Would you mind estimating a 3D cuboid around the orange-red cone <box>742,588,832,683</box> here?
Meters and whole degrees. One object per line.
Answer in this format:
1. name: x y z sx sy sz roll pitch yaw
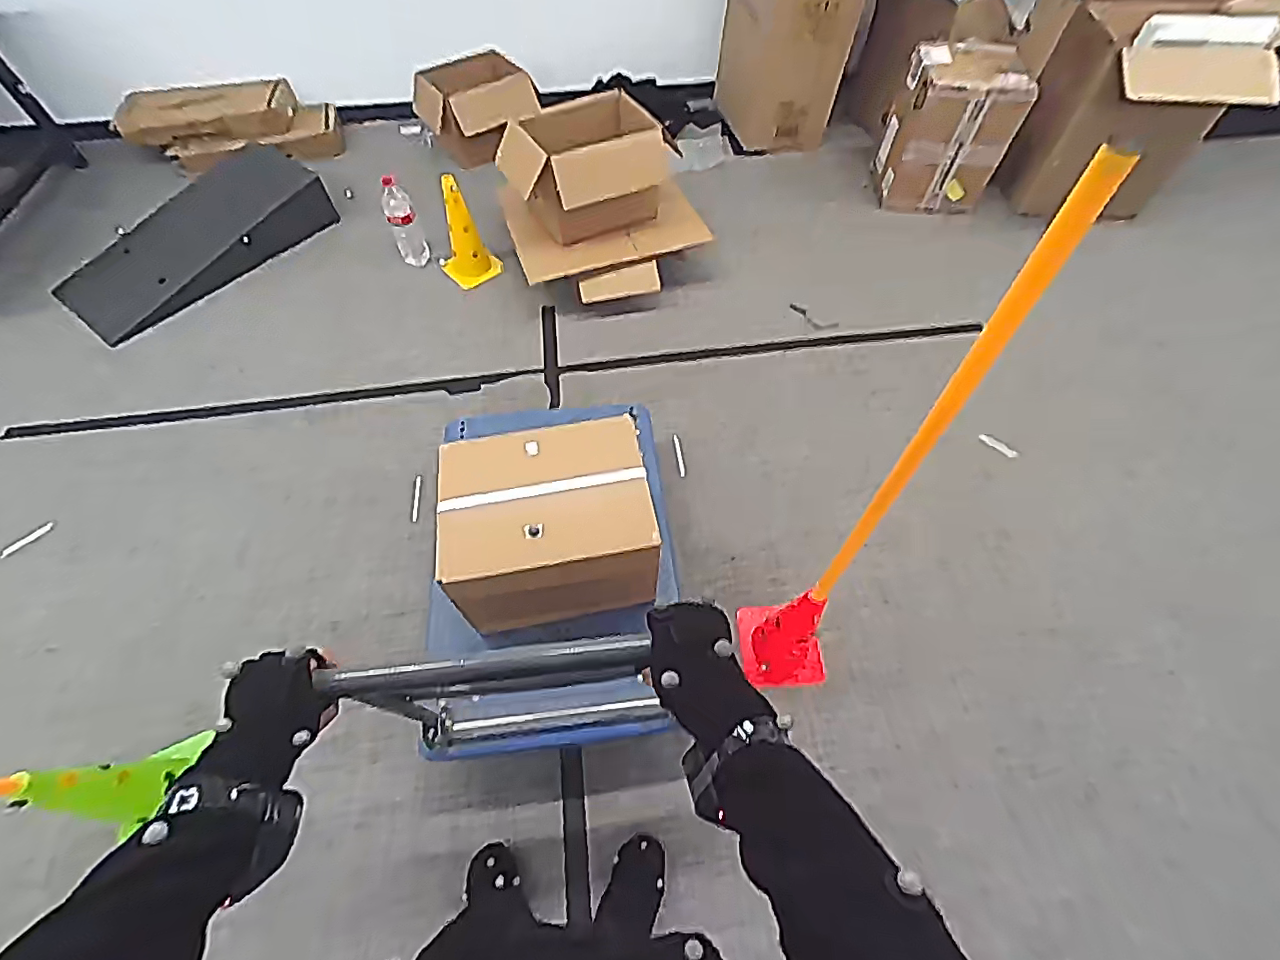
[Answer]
1. orange-red cone: 0.363 0.320 1.219 0.199 0.360 0.198 -1 59 -2
